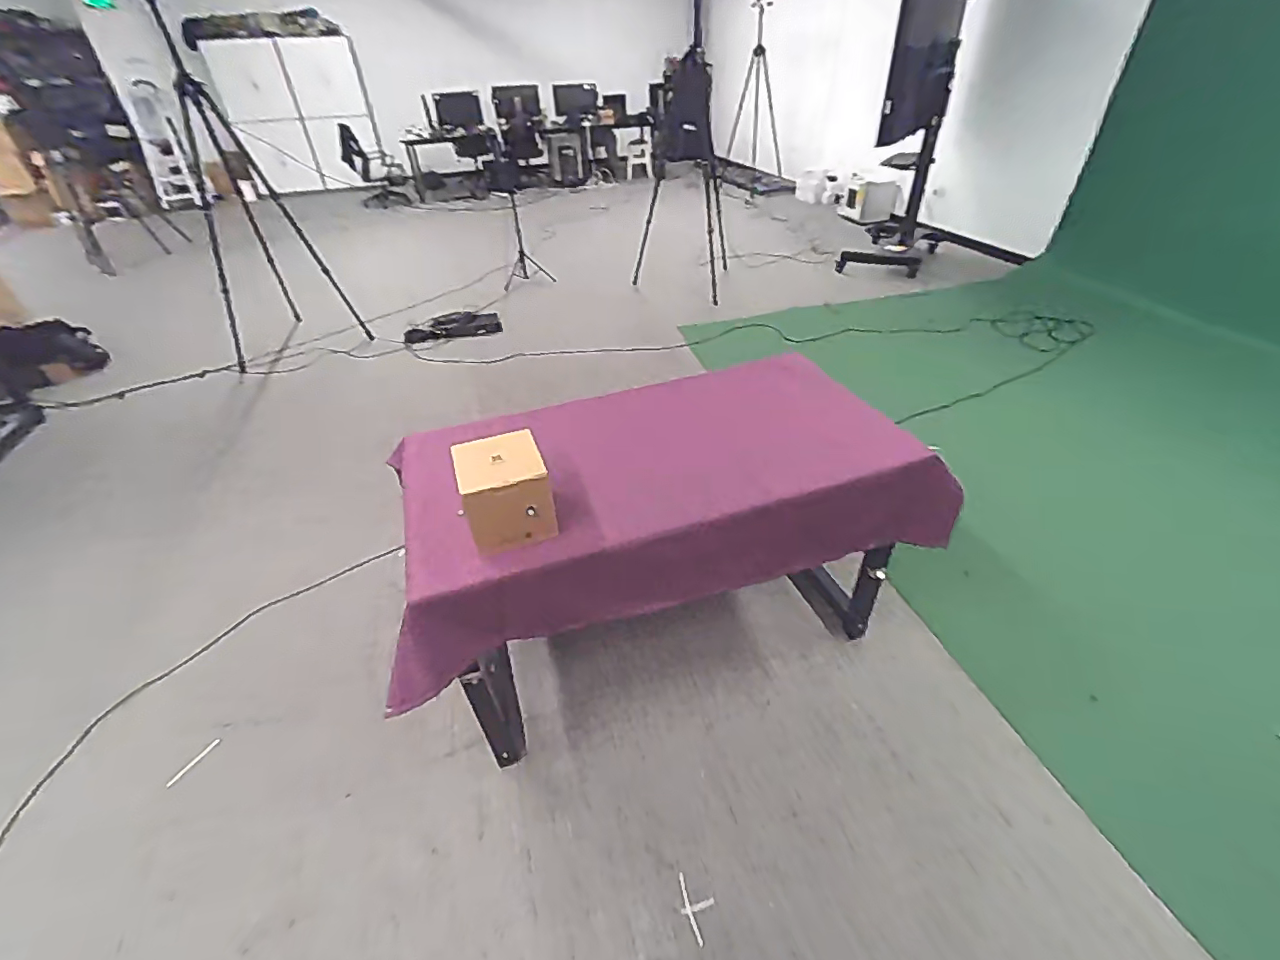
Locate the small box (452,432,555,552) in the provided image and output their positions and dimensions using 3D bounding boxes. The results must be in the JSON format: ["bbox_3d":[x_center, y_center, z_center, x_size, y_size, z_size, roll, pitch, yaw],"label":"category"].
[{"bbox_3d":[-0.279,0.029,1.115,0.168,0.176,0.179,-14,39,-16],"label":"small box"}]
